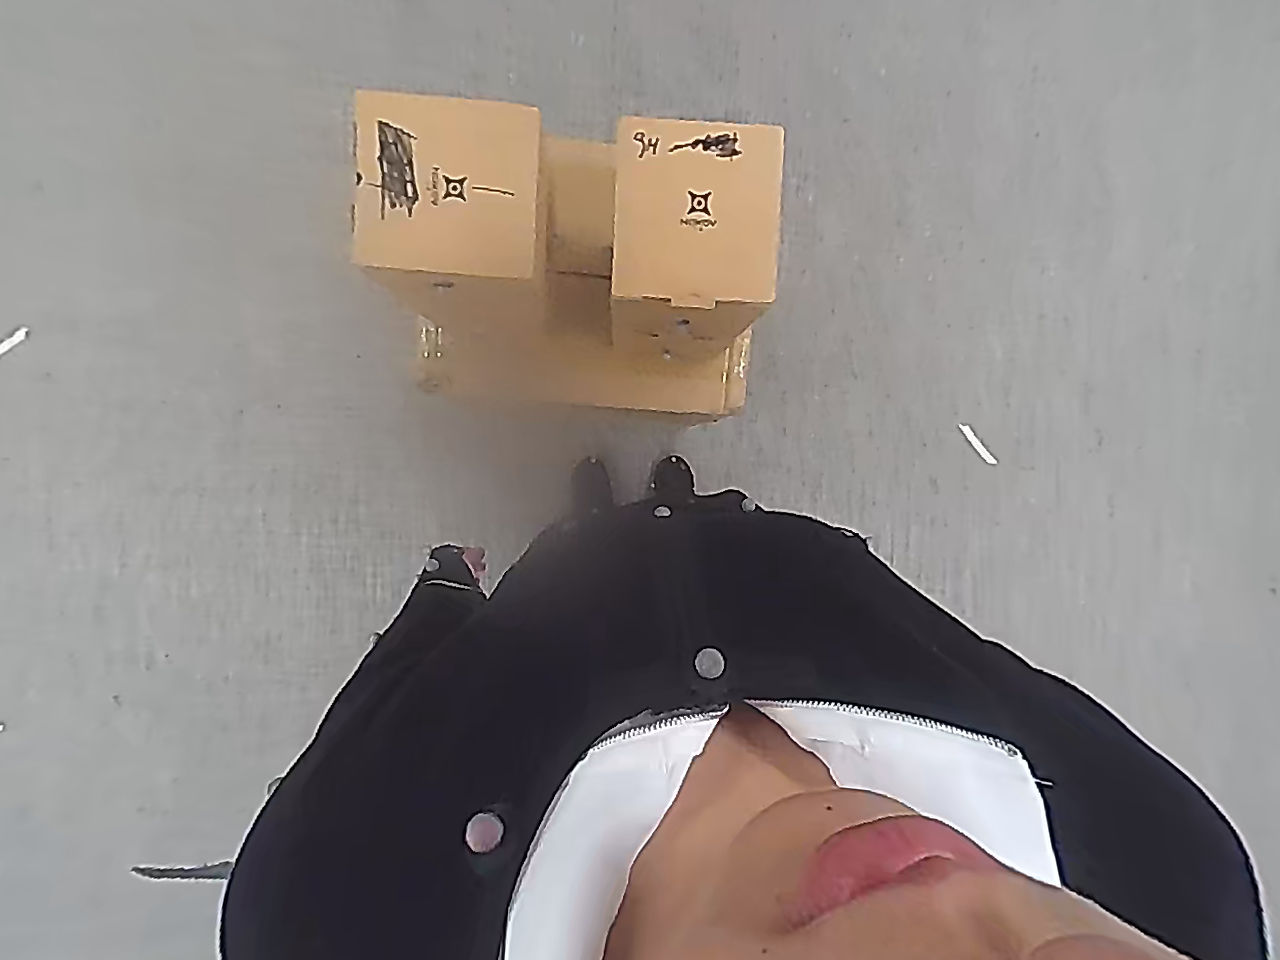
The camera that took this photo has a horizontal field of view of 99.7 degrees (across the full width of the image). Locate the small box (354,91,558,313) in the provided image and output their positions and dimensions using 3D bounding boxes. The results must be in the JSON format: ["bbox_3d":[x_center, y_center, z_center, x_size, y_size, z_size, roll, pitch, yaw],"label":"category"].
[{"bbox_3d":[-0.191,-0.292,0.606,0.179,0.176,0.168,3,94,-4],"label":"small box"}]

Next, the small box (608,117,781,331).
[{"bbox_3d":[0.053,-0.273,0.617,0.168,0.176,0.179,2,94,-2],"label":"small box"}]

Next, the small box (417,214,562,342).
[{"bbox_3d":[-0.203,-0.305,0.769,0.168,0.176,0.179,3,95,-3],"label":"small box"}]

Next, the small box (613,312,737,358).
[{"bbox_3d":[0.048,-0.282,0.781,0.168,0.176,0.179,3,94,-1],"label":"small box"}]
